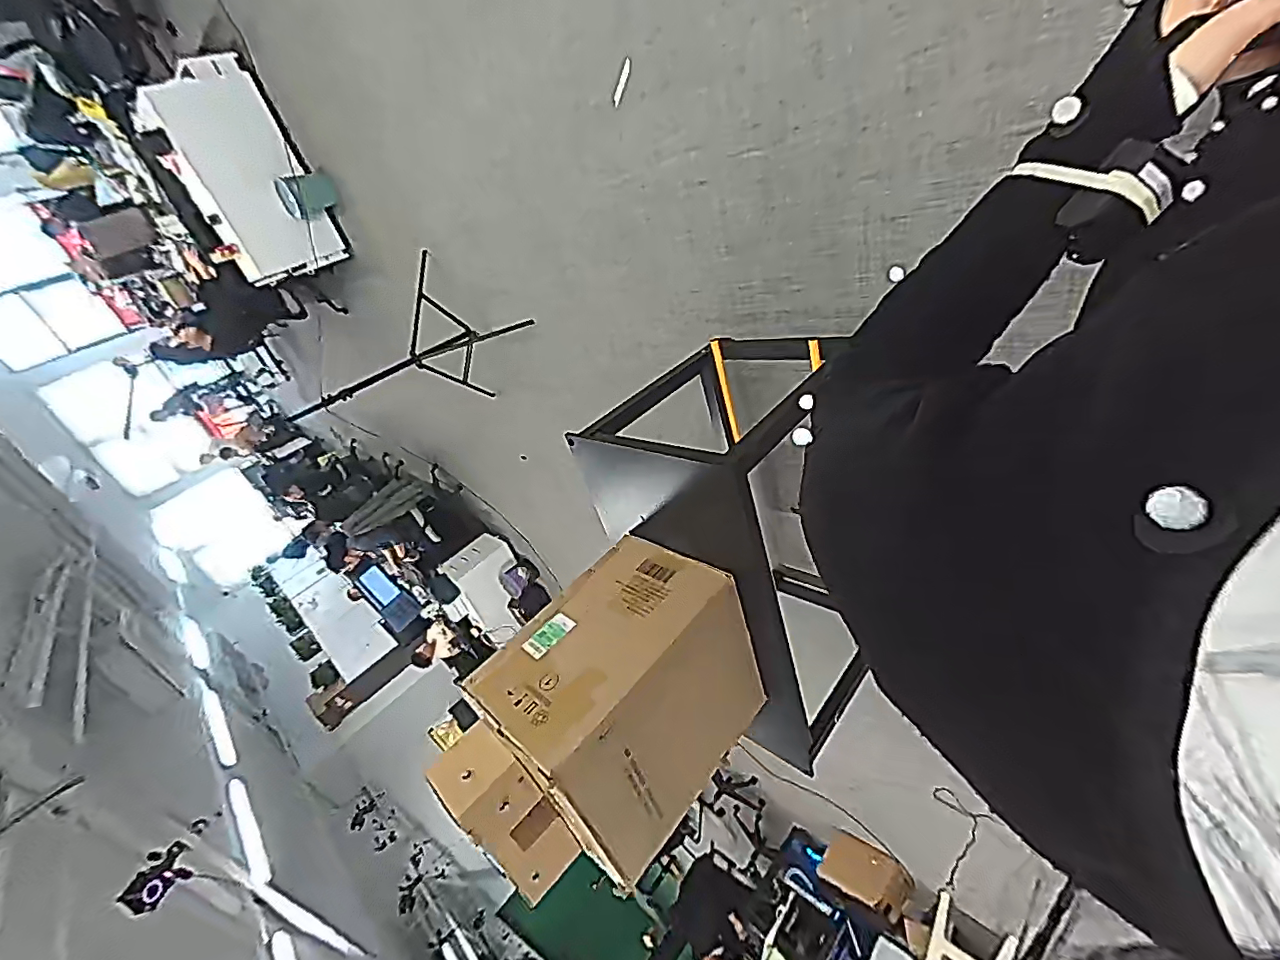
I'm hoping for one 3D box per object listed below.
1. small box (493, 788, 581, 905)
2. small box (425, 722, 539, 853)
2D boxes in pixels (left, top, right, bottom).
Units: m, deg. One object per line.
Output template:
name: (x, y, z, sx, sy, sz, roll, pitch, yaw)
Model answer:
small box: (-0.278, 0.921, 1.387, 0.168, 0.176, 0.179, 15, 133, 45)
small box: (-0.358, 0.708, 1.263, 0.179, 0.176, 0.168, 17, 137, 44)
